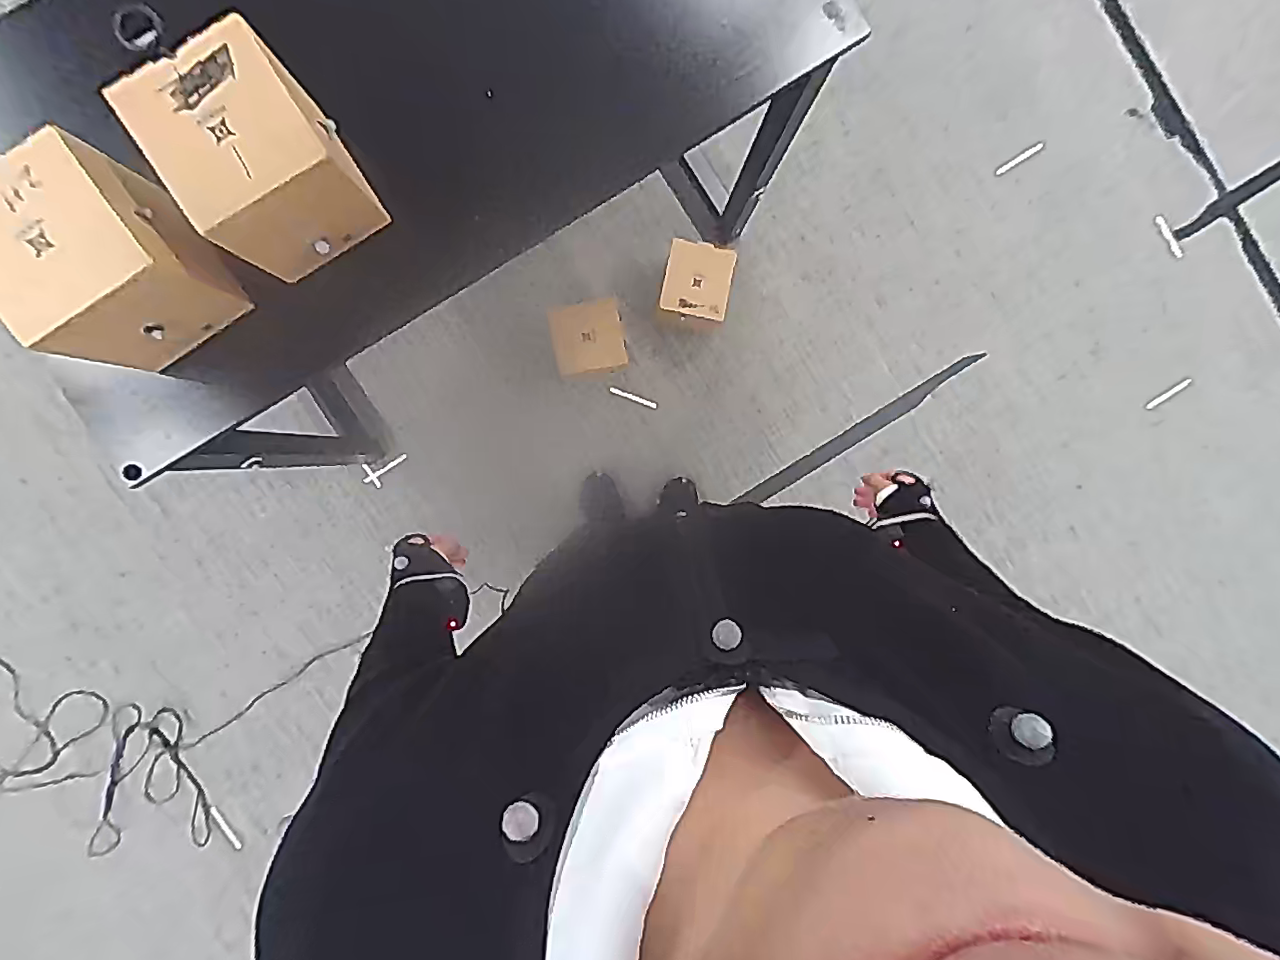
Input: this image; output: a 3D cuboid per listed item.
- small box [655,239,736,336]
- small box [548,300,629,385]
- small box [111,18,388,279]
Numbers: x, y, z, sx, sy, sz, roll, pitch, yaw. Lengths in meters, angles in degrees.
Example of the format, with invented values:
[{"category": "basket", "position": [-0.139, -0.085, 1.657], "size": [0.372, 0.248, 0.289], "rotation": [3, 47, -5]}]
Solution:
[{"category": "small box", "position": [0.137, -0.494, 1.407], "size": [0.168, 0.176, 0.179], "rotation": [11, 92, -3]}, {"category": "small box", "position": [-0.130, -0.351, 1.403], "size": [0.179, 0.176, 0.168], "rotation": [-11, 92, -1]}, {"category": "small box", "position": [-0.449, -0.379, 0.655], "size": [0.168, 0.176, 0.179], "rotation": [-33, 94, -1]}]
